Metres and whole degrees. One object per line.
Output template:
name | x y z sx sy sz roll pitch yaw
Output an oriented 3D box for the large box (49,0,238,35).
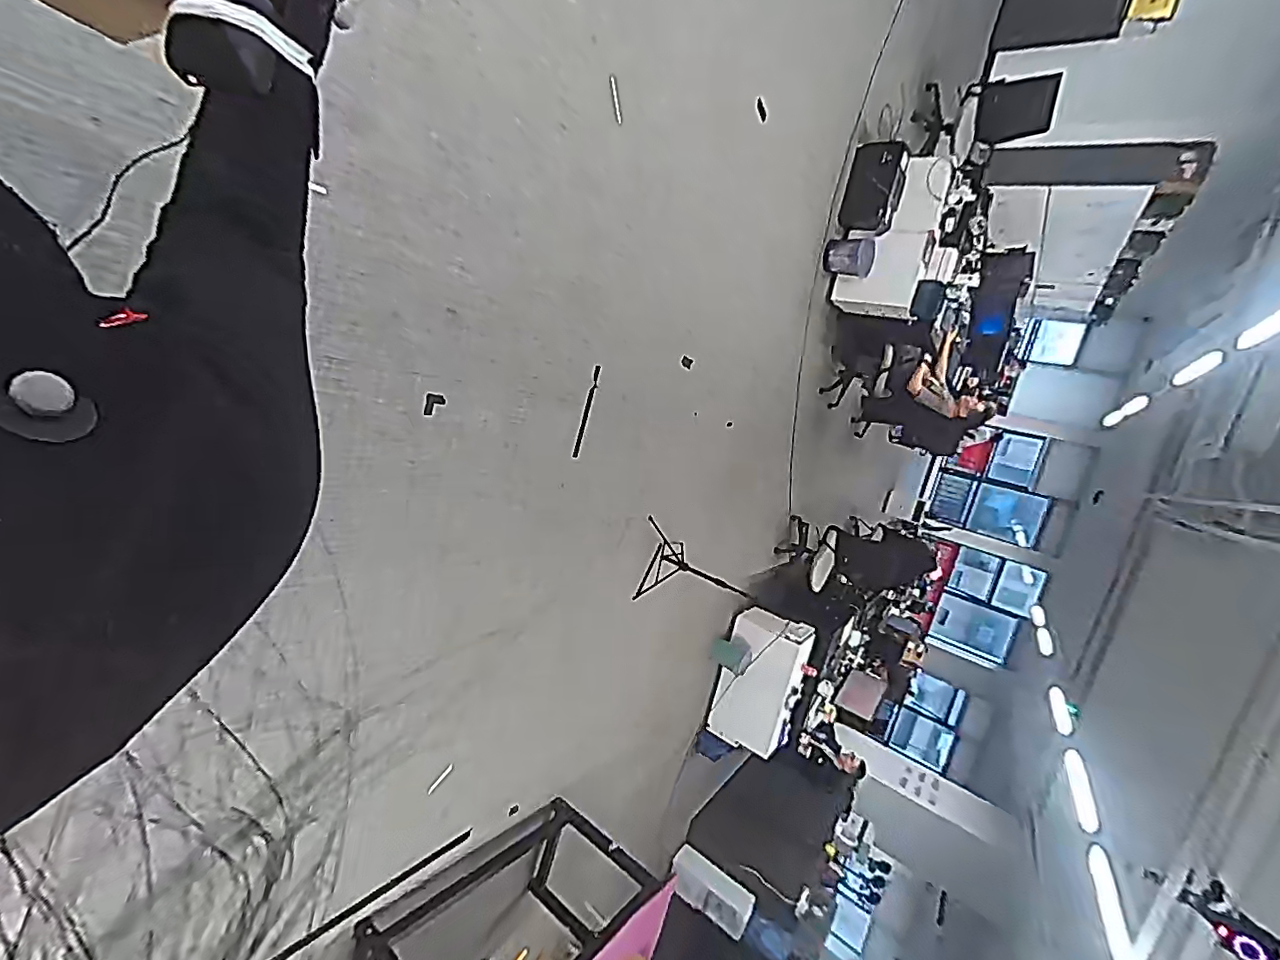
large box | -0.472 -0.540 0.281 0.408 0.320 0.320 4 109 -57
